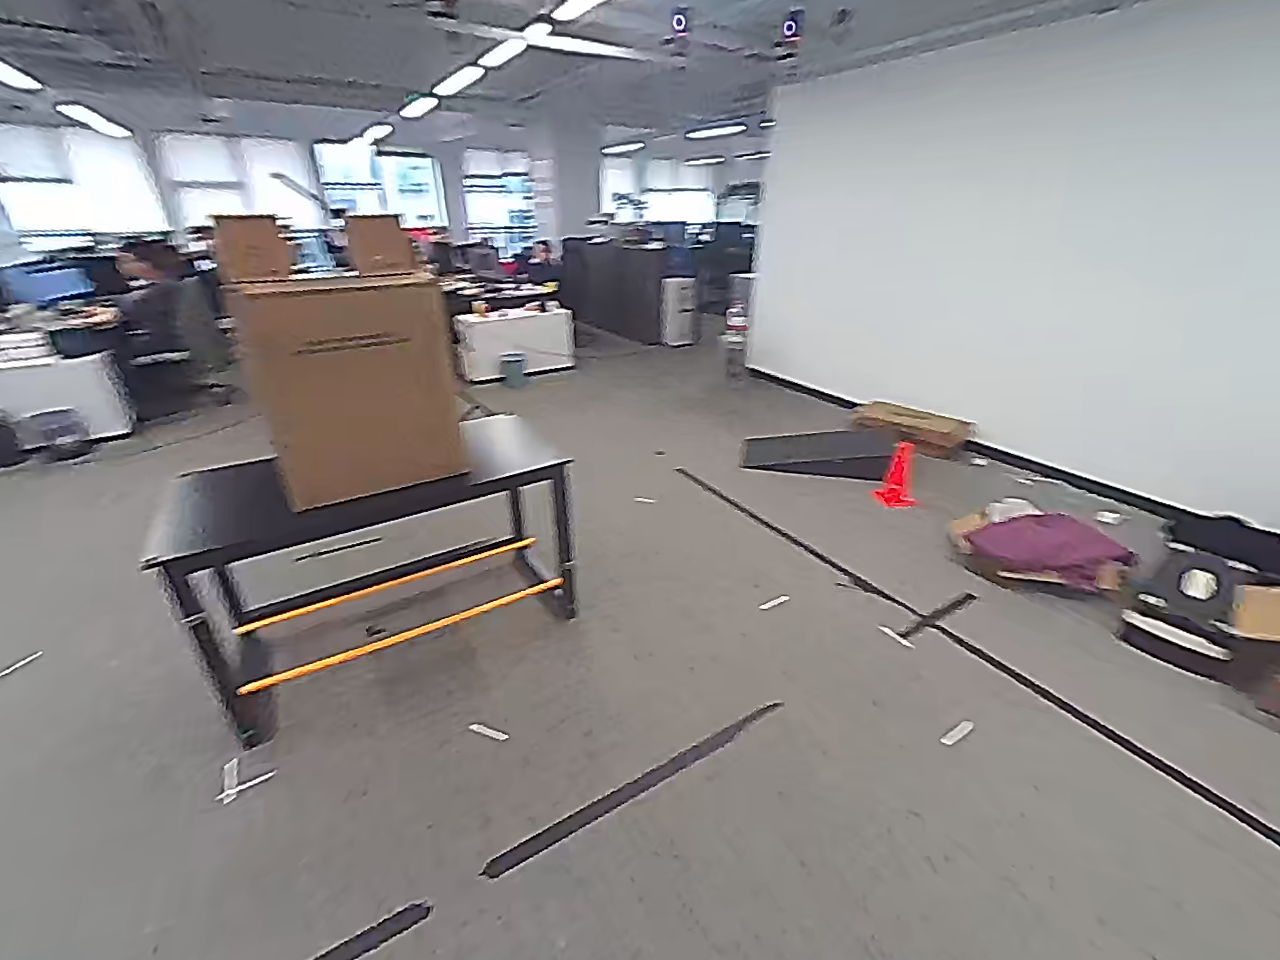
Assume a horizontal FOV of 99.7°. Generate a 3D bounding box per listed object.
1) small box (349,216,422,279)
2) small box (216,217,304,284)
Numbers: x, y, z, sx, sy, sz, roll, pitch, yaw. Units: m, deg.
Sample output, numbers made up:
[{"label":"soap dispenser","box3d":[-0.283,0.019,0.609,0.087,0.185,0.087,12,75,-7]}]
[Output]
[{"label":"small box","box3d":[-0.789,-0.723,1.678,0.168,0.176,0.179,-17,30,-25]},{"label":"small box","box3d":[-1.071,-0.649,1.529,0.168,0.176,0.179,-17,31,-32]}]
